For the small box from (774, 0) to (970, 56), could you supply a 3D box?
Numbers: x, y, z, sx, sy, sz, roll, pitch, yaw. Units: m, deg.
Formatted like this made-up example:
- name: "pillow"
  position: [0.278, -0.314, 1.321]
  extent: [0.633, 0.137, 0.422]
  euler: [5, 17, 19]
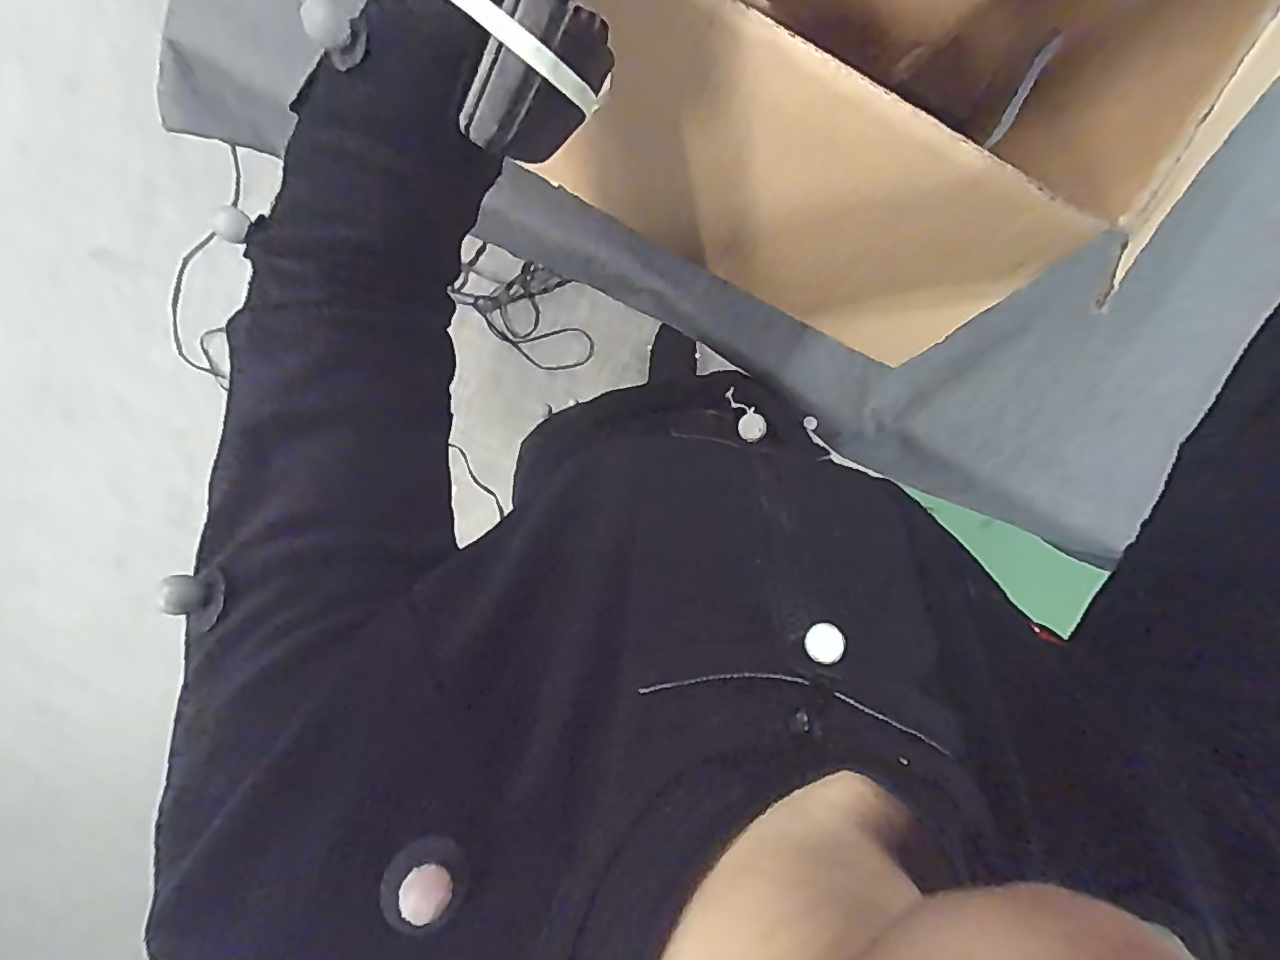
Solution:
- name: "small box"
  position: [0.132, -0.351, 0.254]
  extent: [0.179, 0.176, 0.168]
  euler: [26, 104, -7]
